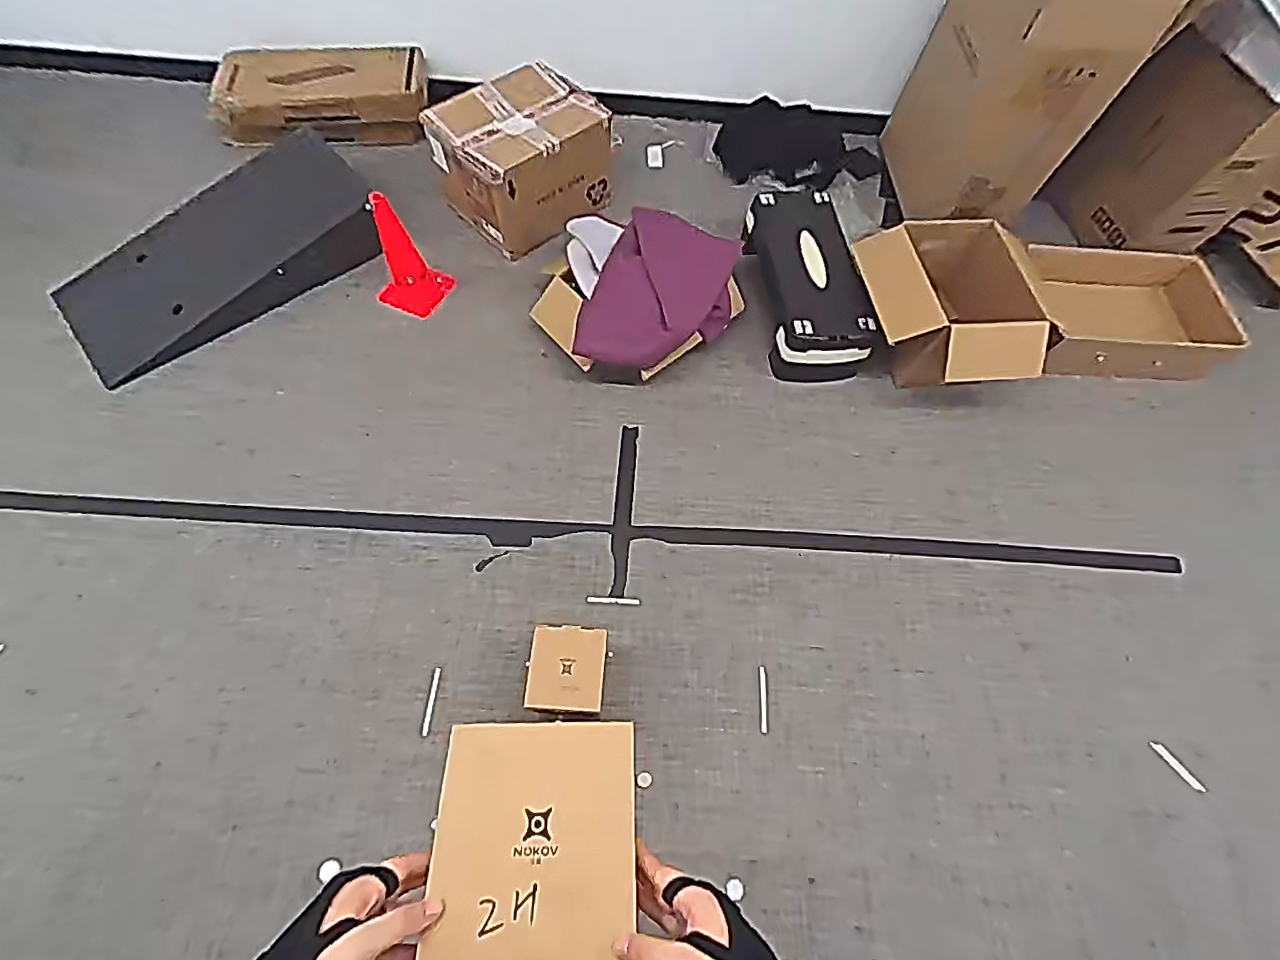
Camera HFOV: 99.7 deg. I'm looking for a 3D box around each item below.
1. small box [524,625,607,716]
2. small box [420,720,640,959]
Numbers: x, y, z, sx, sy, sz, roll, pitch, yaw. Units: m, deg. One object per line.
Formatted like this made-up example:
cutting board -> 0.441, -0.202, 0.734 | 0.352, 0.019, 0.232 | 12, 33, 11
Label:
small box -> -0.164, 0.445, 1.254 | 0.168, 0.176, 0.179 | 3, 65, 0
small box -> -0.087, 0.338, 0.513 | 0.168, 0.176, 0.179 | 0, 57, -3
